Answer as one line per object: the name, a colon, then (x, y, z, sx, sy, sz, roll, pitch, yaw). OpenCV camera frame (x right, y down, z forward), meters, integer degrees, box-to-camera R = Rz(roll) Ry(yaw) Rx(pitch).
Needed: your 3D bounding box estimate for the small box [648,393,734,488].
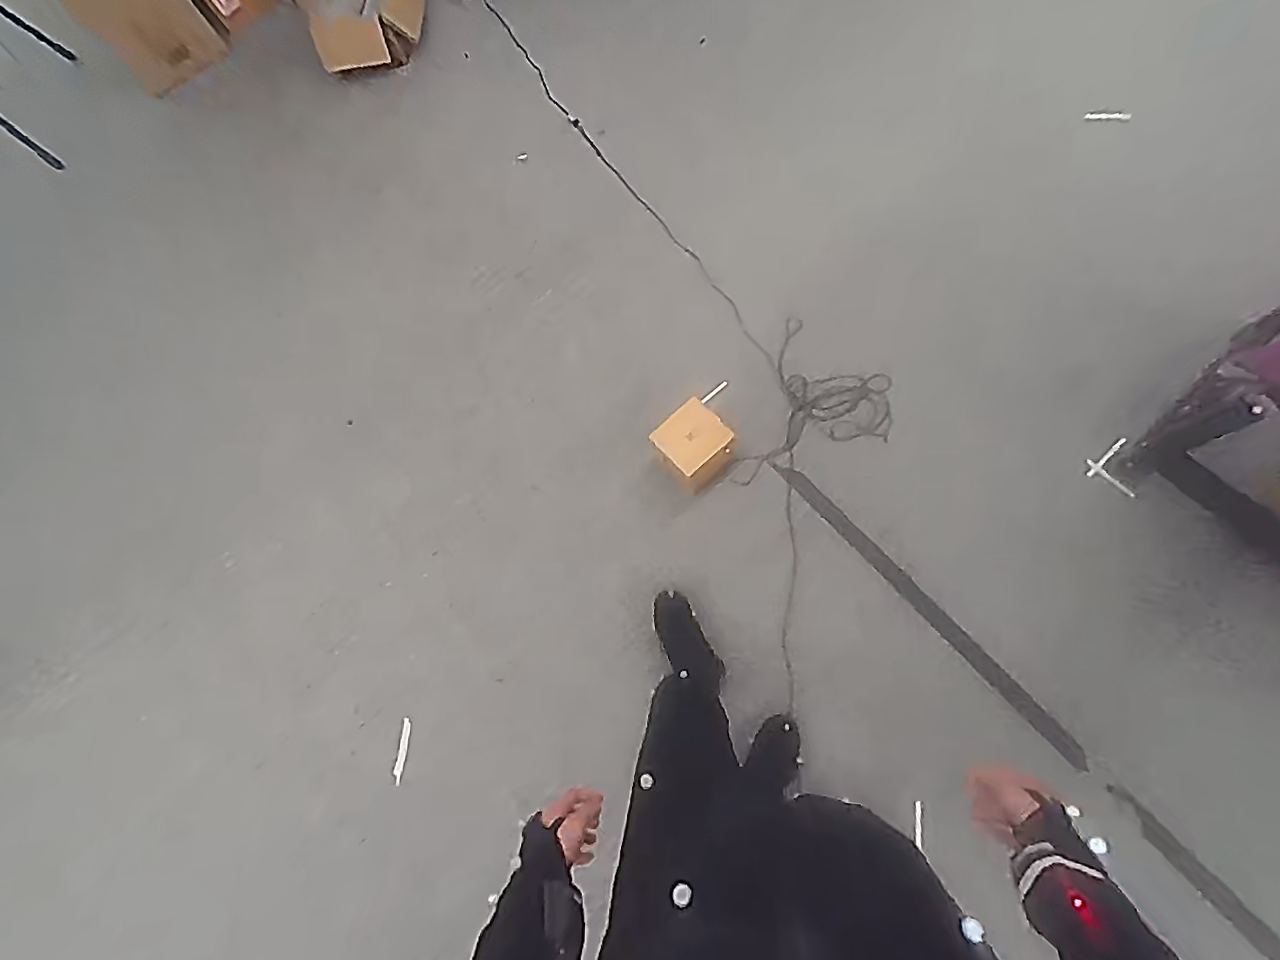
small box: (0.149, -0.104, 1.514, 0.179, 0.176, 0.168, -42, 72, -5)
